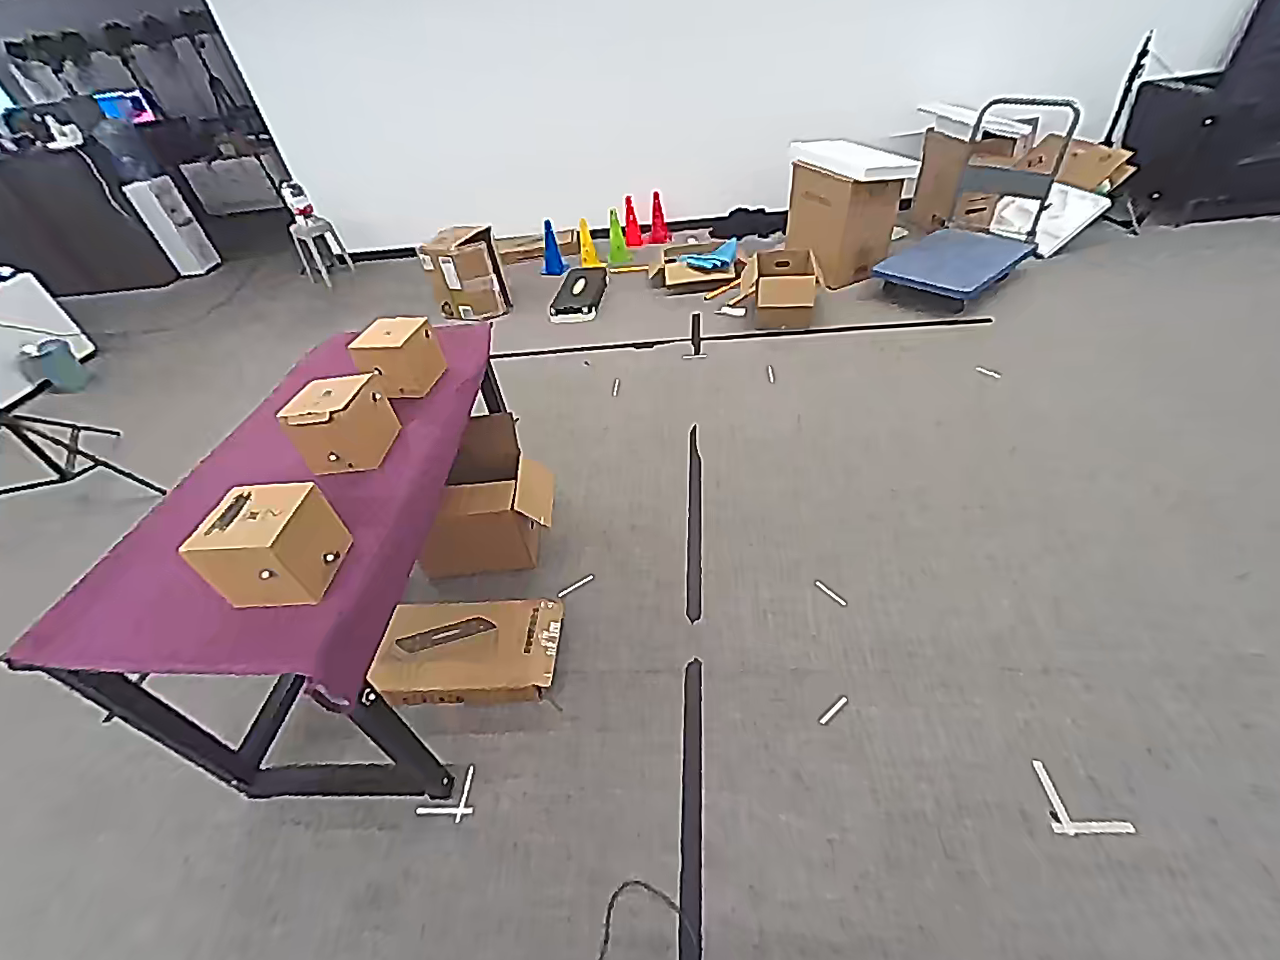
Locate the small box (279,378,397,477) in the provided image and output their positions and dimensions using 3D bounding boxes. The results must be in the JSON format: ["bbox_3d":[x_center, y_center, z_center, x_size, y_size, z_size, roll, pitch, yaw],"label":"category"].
[{"bbox_3d":[-0.727,-0.129,1.330,0.168,0.176,0.179,-6,41,7],"label":"small box"}]

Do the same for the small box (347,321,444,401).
[{"bbox_3d":[-0.696,-0.341,1.565,0.168,0.176,0.179,1,42,11],"label":"small box"}]
